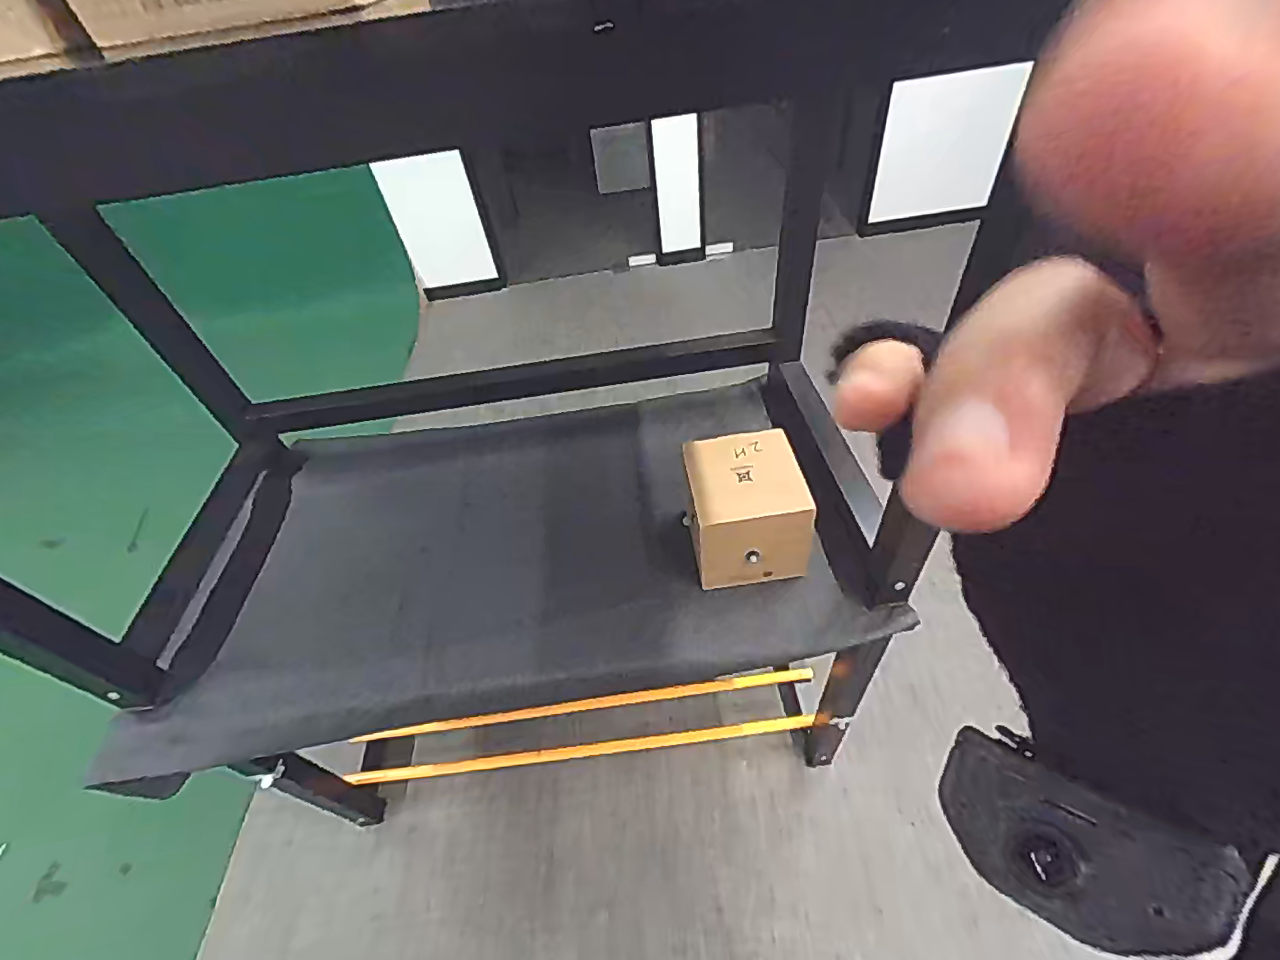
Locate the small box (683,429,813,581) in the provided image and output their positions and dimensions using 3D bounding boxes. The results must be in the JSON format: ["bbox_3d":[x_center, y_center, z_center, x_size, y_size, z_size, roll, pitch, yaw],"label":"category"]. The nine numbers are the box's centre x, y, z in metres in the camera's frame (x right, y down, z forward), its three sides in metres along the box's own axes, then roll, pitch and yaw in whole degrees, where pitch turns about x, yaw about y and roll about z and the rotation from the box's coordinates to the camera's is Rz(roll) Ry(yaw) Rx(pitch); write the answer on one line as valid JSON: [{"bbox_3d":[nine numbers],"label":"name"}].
[{"bbox_3d":[0.165,0.047,0.863,0.168,0.176,0.179,-8,45,1],"label":"small box"}]
